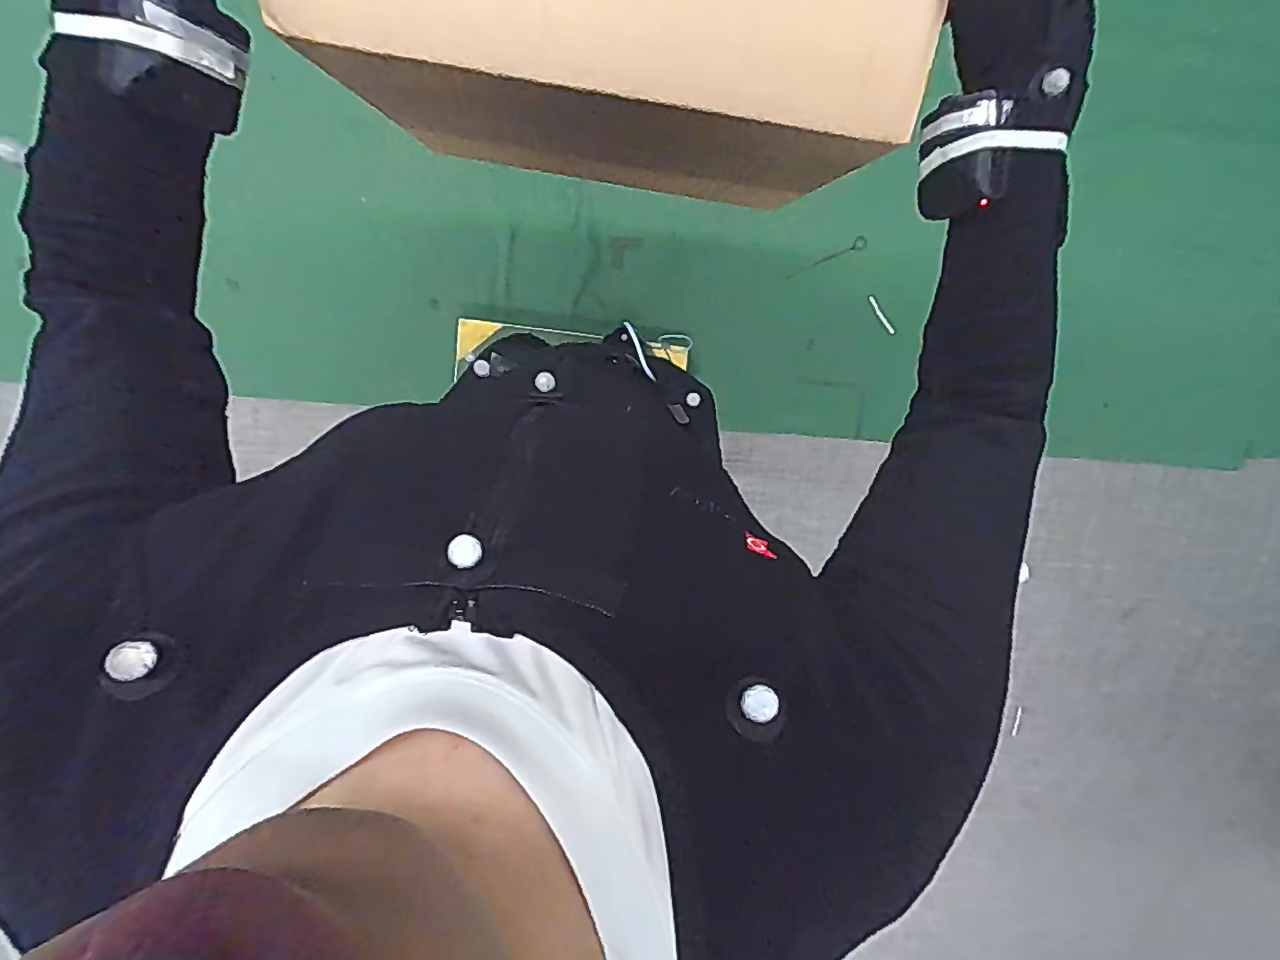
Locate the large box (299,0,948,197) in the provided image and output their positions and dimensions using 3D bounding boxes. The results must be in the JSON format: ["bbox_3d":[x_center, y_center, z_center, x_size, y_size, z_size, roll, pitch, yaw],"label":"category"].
[{"bbox_3d":[-0.002,-0.447,0.435,0.408,0.320,0.320,6,110,-6],"label":"large box"}]
